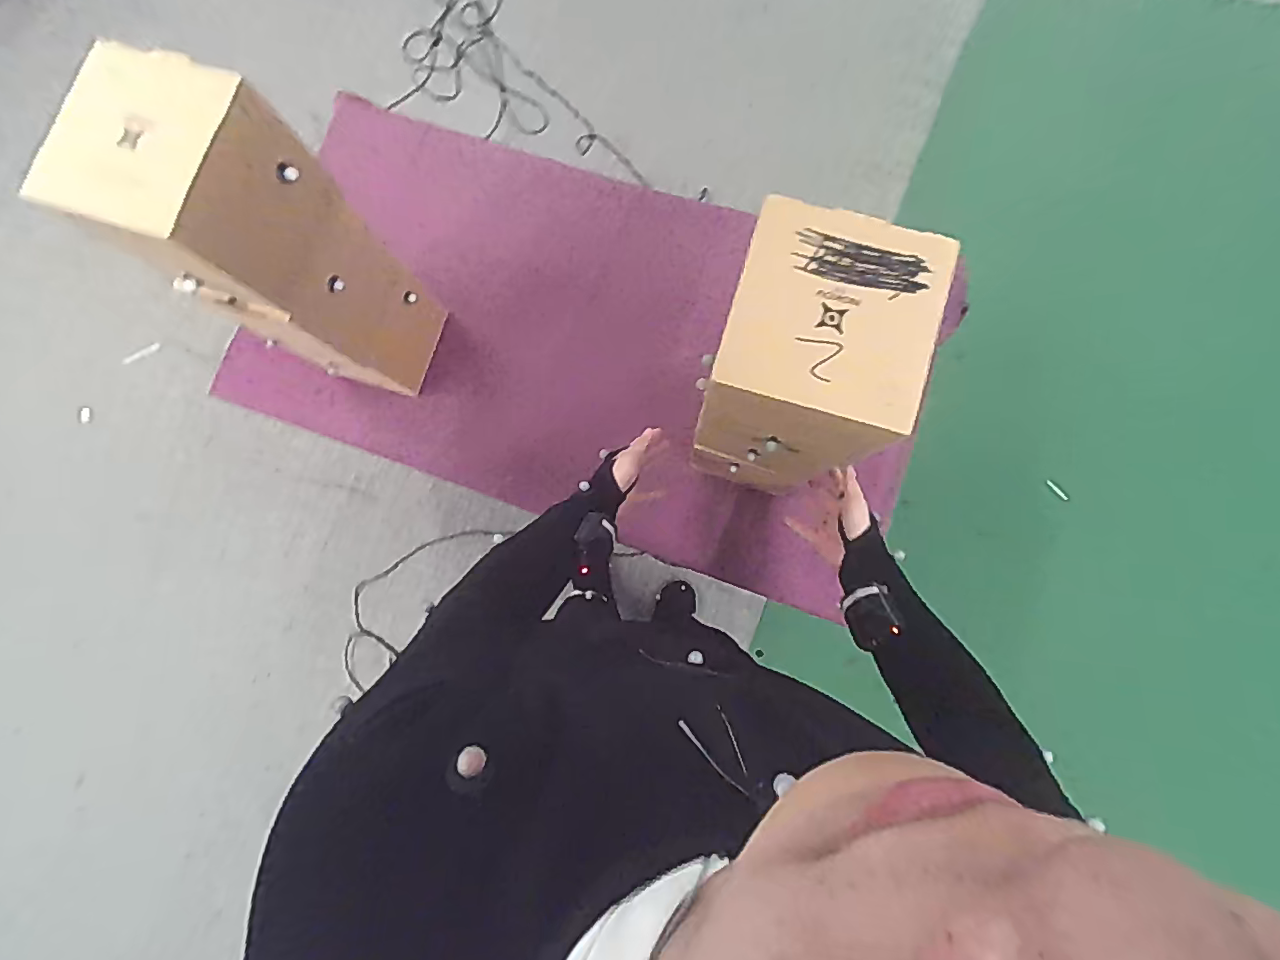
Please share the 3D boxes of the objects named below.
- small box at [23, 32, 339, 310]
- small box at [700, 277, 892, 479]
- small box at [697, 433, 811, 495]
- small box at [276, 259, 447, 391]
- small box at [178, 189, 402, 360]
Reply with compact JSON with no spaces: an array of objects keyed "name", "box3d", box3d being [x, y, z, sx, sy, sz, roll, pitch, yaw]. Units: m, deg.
[{"name":"small box","box3d":[-0.467,-0.317,0.584,0.168,0.176,0.179,18,83,6]},{"name":"small box","box3d":[0.180,-0.114,0.678,0.168,0.176,0.179,20,83,6]},{"name":"small box","box3d":[0.190,-0.089,0.842,0.168,0.176,0.179,19,84,7]},{"name":"small box","box3d":[-0.452,-0.267,0.908,0.168,0.176,0.179,17,83,6]},{"name":"small box","box3d":[-0.462,-0.288,0.745,0.168,0.176,0.179,18,83,6]}]
